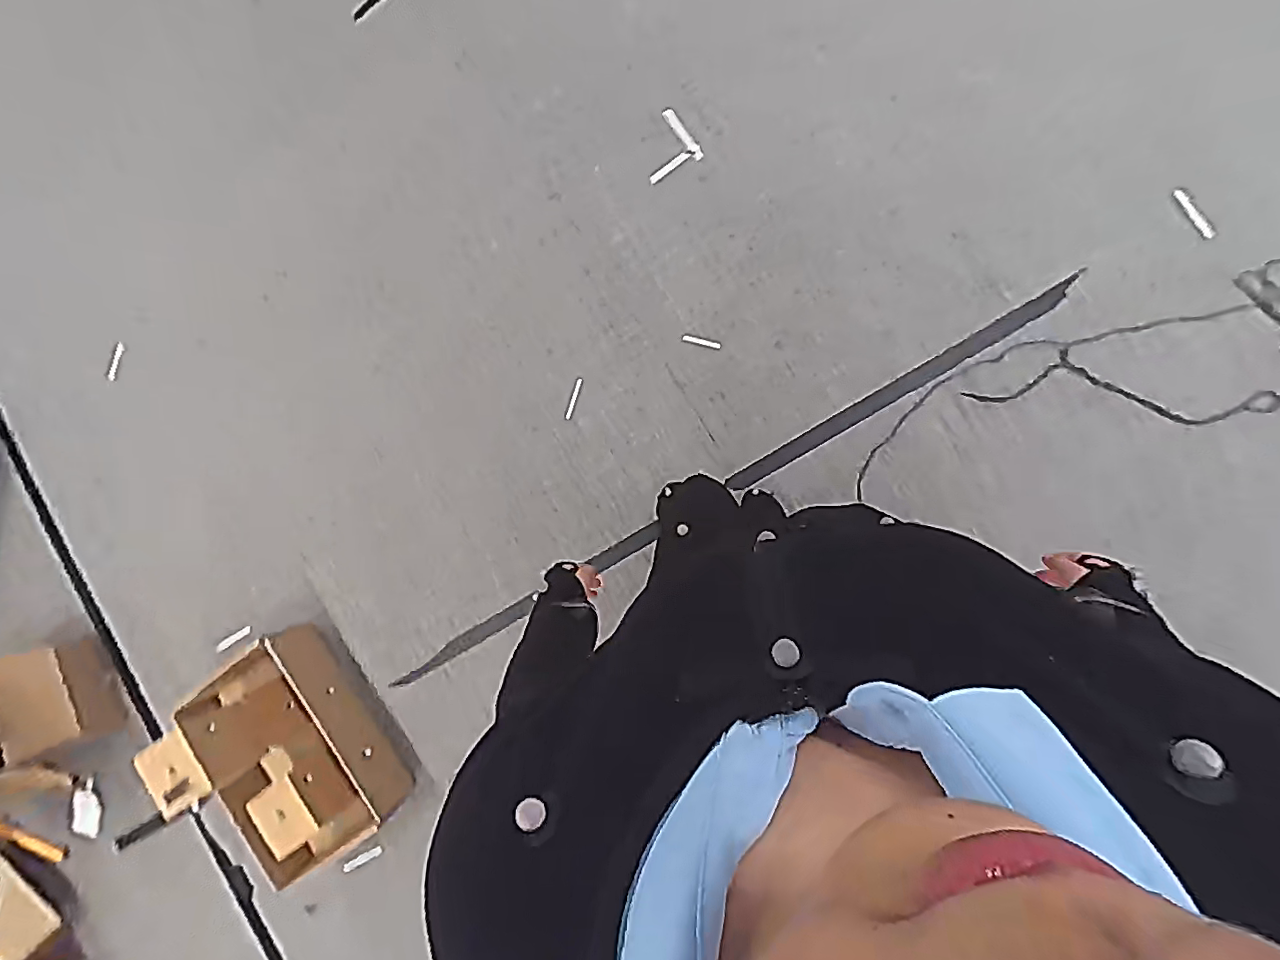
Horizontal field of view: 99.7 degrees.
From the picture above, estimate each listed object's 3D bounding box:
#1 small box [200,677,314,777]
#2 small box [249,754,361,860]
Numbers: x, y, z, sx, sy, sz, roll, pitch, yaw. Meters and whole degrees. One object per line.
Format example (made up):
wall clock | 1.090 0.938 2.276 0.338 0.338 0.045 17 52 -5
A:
small box | -1.104 0.711 1.571 0.179 0.176 0.168 -37 86 7
small box | -0.951 0.919 1.545 0.168 0.176 0.179 -39 83 8
